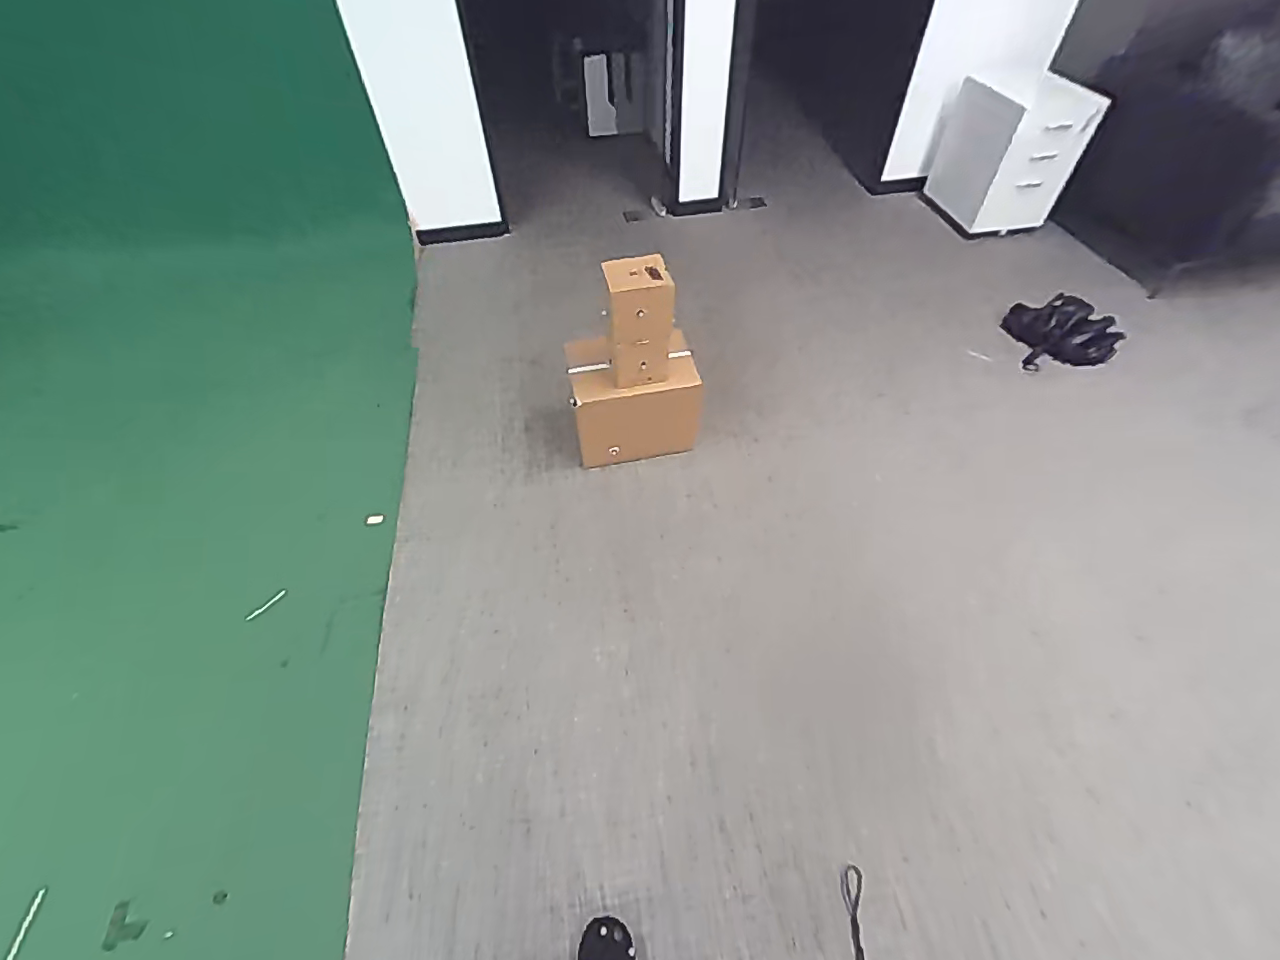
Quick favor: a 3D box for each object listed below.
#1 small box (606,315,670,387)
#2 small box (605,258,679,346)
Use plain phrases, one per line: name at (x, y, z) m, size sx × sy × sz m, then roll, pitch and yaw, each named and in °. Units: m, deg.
small box at (-0.005, -0.407, 1.680) m, size 0.168 × 0.176 × 0.179 m, roll -11°, pitch 52°, yaw -7°
small box at (0.002, -0.508, 1.549) m, size 0.179 × 0.176 × 0.168 m, roll -11°, pitch 52°, yaw -9°
